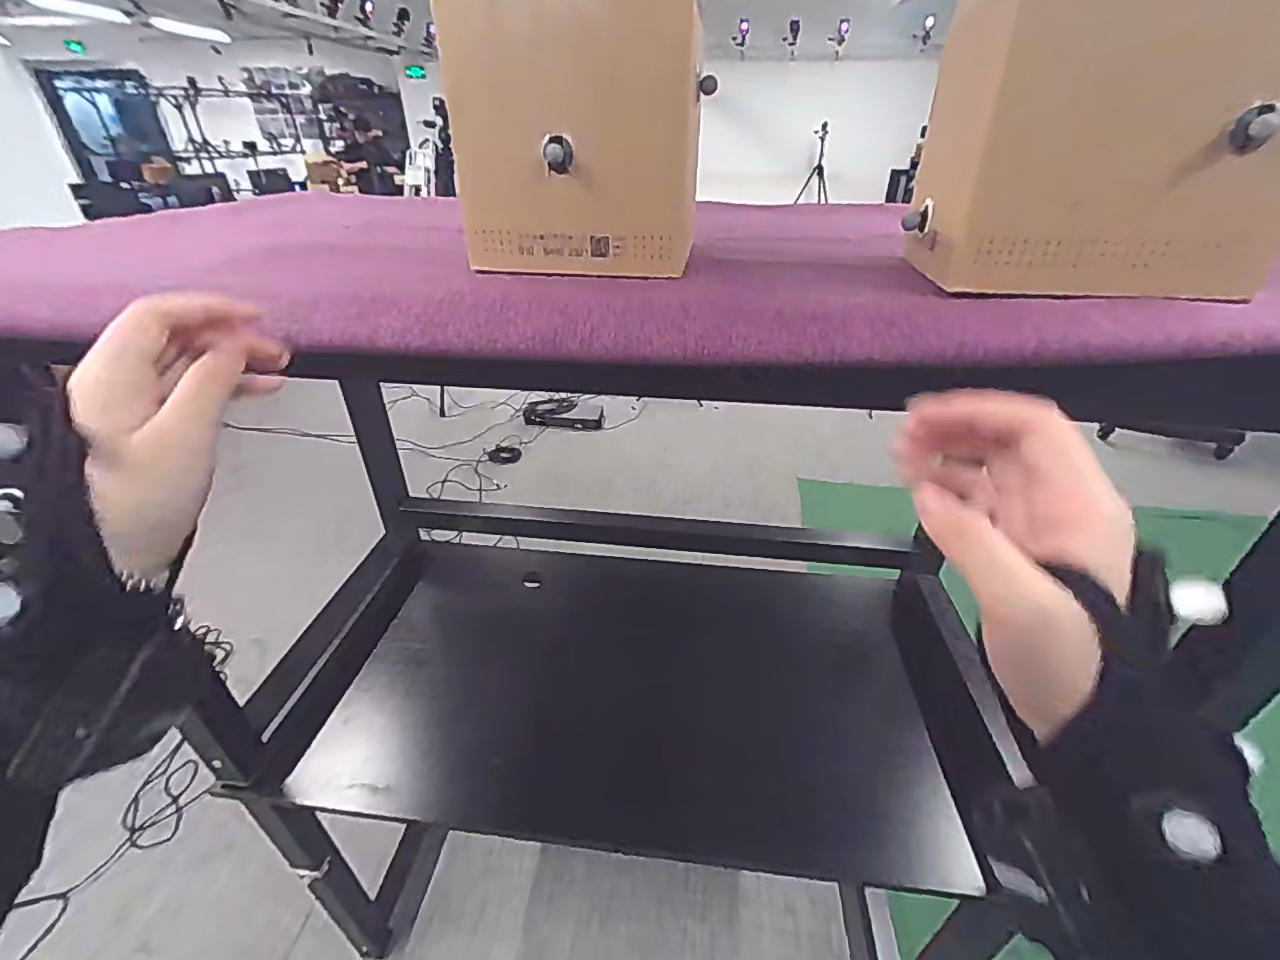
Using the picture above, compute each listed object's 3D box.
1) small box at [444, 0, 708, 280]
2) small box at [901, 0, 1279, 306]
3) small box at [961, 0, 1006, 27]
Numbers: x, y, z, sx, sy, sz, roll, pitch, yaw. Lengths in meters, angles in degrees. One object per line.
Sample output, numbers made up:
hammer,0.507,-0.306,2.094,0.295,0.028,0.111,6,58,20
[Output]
small box,-0.034,-0.270,0.446,0.168,0.176,0.179,5,32,6
small box,0.306,-0.223,0.379,0.179,0.176,0.168,5,30,11
small box,0.304,-0.367,0.303,0.179,0.176,0.168,8,31,13
